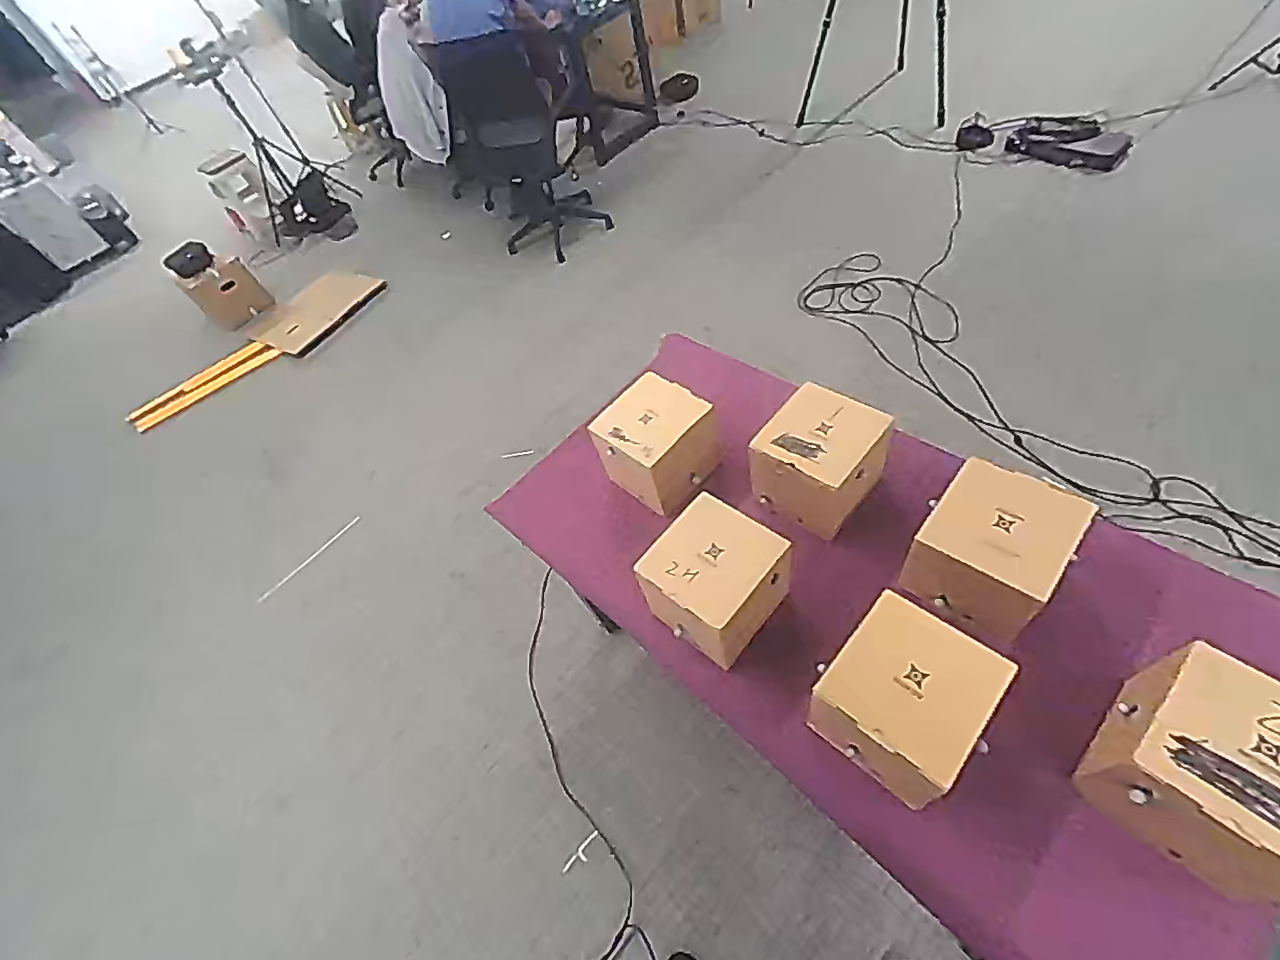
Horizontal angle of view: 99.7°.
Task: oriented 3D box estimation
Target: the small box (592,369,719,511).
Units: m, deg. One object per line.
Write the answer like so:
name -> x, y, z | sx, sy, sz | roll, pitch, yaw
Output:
small box -> 0.039, -0.075, 1.048 | 0.179, 0.176, 0.168 | -43, 55, -18

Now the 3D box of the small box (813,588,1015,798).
small box -> 0.344, 0.283, 0.715 | 0.168, 0.176, 0.179 | 33, 68, 31

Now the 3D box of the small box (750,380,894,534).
small box -> 0.316, -0.036, 0.952 | 0.168, 0.176, 0.179 | 33, 68, 31

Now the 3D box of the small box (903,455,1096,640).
small box -> 0.516, 0.102, 0.802 | 0.168, 0.176, 0.179 | 32, 69, 32

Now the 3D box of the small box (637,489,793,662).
small box -> 0.122, 0.153, 0.863 | 0.168, 0.176, 0.179 | 33, 67, 32
